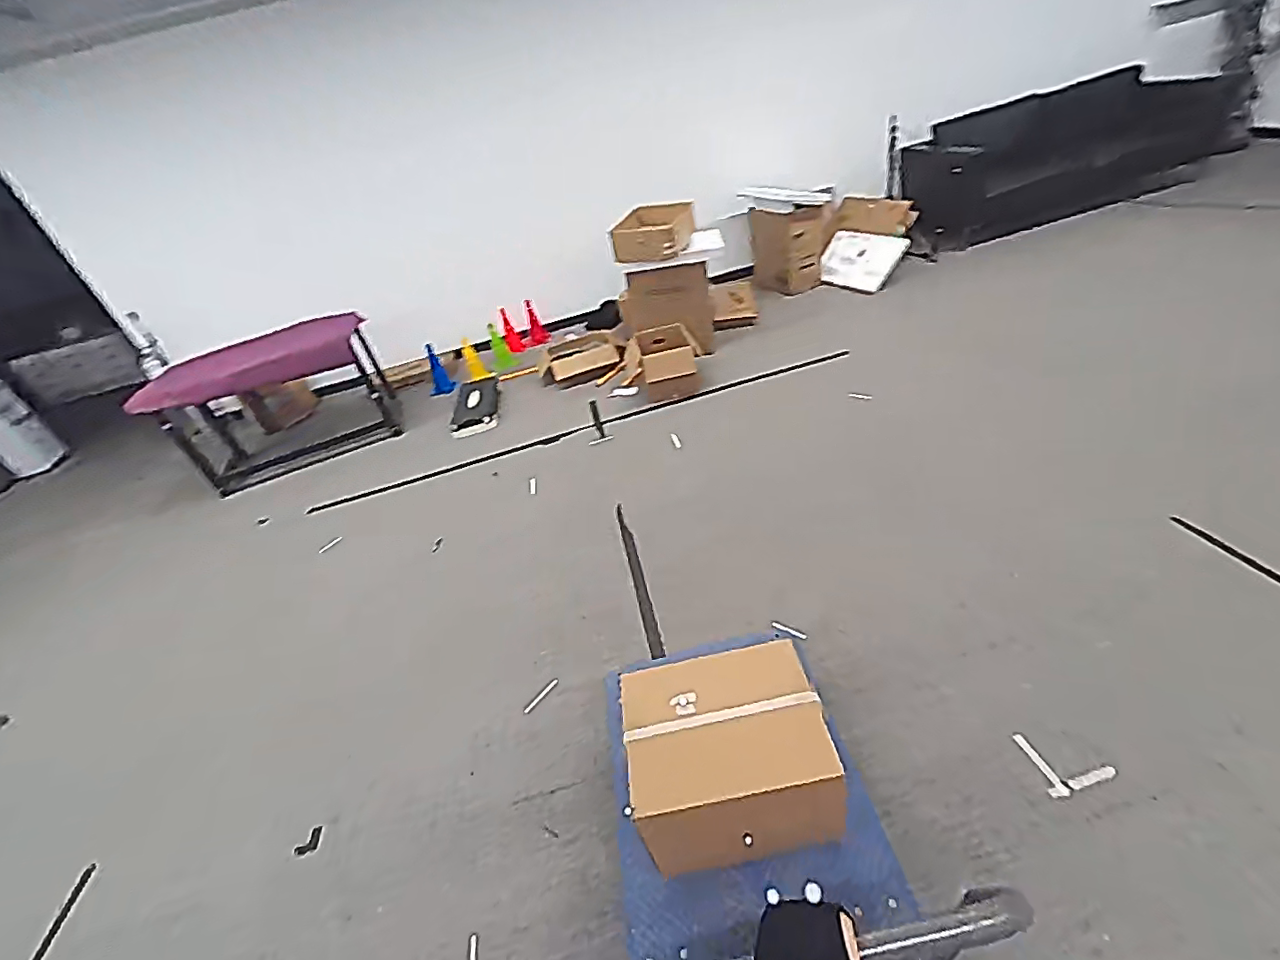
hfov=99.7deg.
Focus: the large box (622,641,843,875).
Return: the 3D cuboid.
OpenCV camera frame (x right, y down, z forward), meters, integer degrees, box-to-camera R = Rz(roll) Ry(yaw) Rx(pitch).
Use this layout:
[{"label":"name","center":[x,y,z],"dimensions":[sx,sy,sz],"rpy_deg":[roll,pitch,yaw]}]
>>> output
[{"label":"large box","center":[0.200,0.621,1.215],"dimensions":[0.408,0.320,0.320],"rpy_deg":[-14,34,3]}]
